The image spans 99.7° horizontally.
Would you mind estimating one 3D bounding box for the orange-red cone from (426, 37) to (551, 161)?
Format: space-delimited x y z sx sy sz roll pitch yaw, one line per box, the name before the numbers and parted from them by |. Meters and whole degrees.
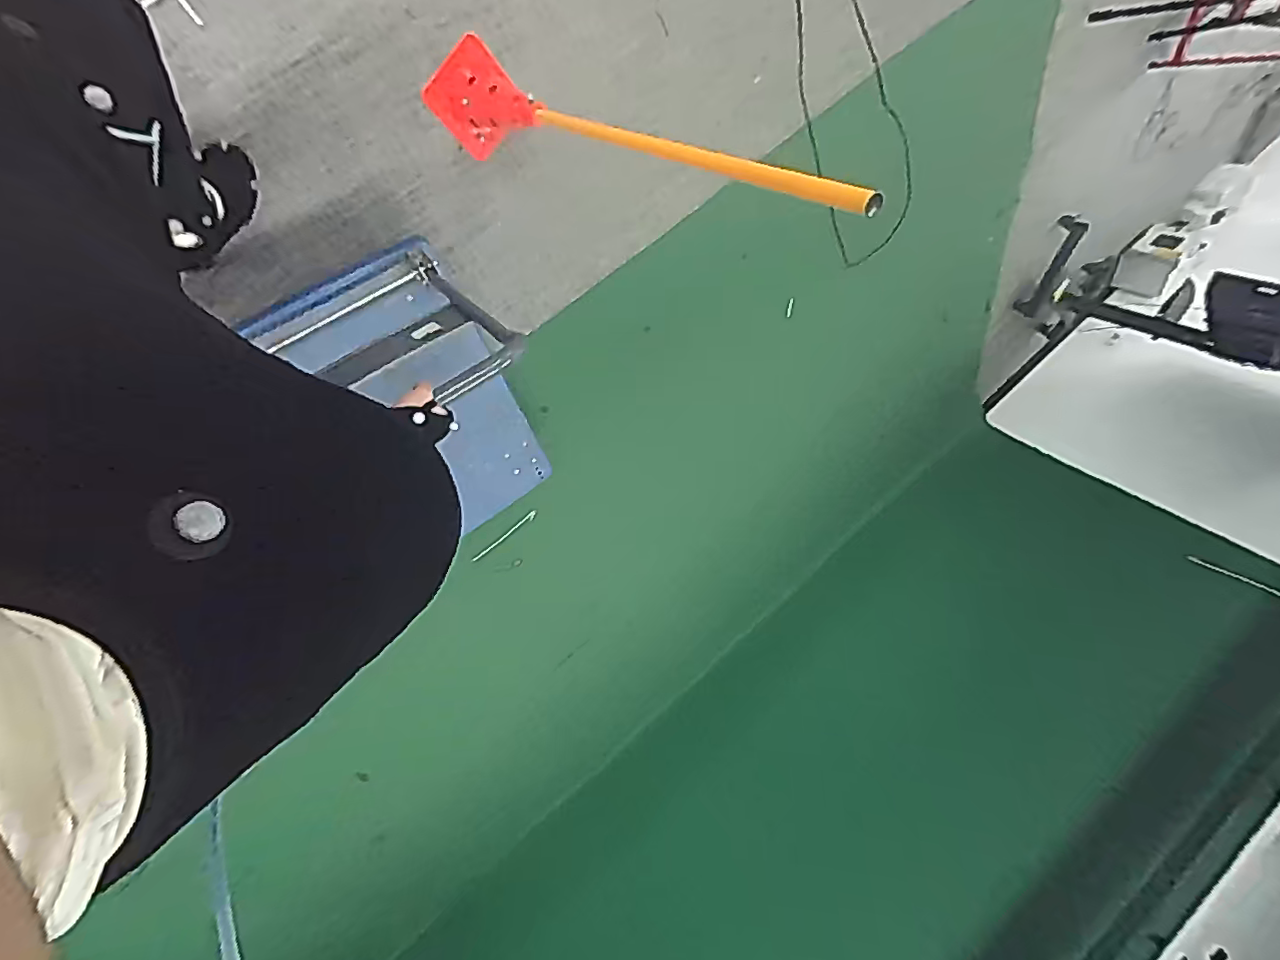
orange-red cone | -0.302 -0.845 1.227 0.199 0.360 0.198 -50 141 2
